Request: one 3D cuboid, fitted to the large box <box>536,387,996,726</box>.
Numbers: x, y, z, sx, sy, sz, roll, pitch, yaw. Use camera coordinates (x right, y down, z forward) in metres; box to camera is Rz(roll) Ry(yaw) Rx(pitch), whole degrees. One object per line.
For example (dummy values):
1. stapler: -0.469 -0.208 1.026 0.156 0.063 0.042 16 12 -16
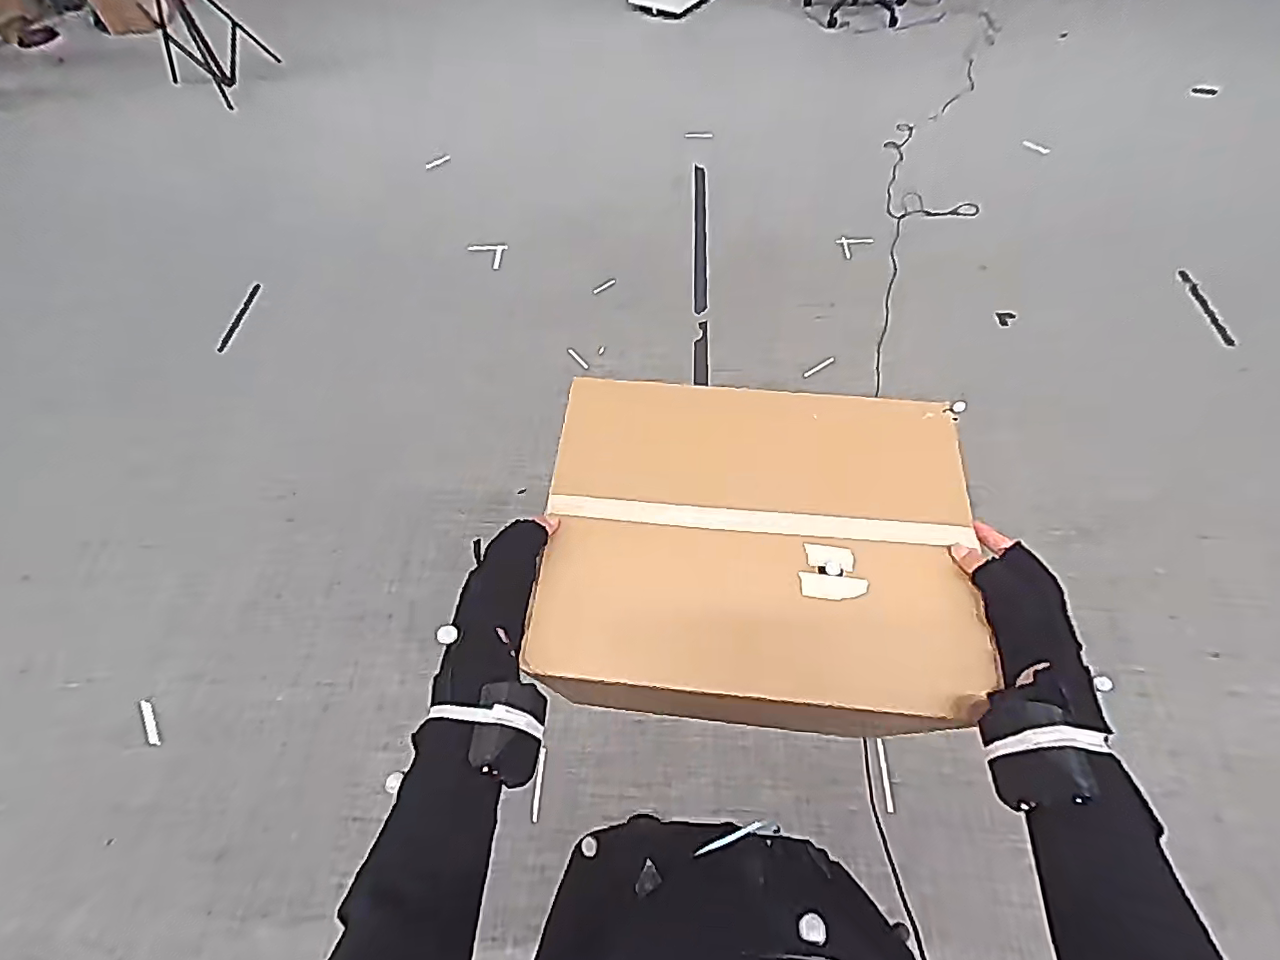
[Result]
1. large box: 0.118 0.111 0.662 0.408 0.320 0.320 5 64 3
